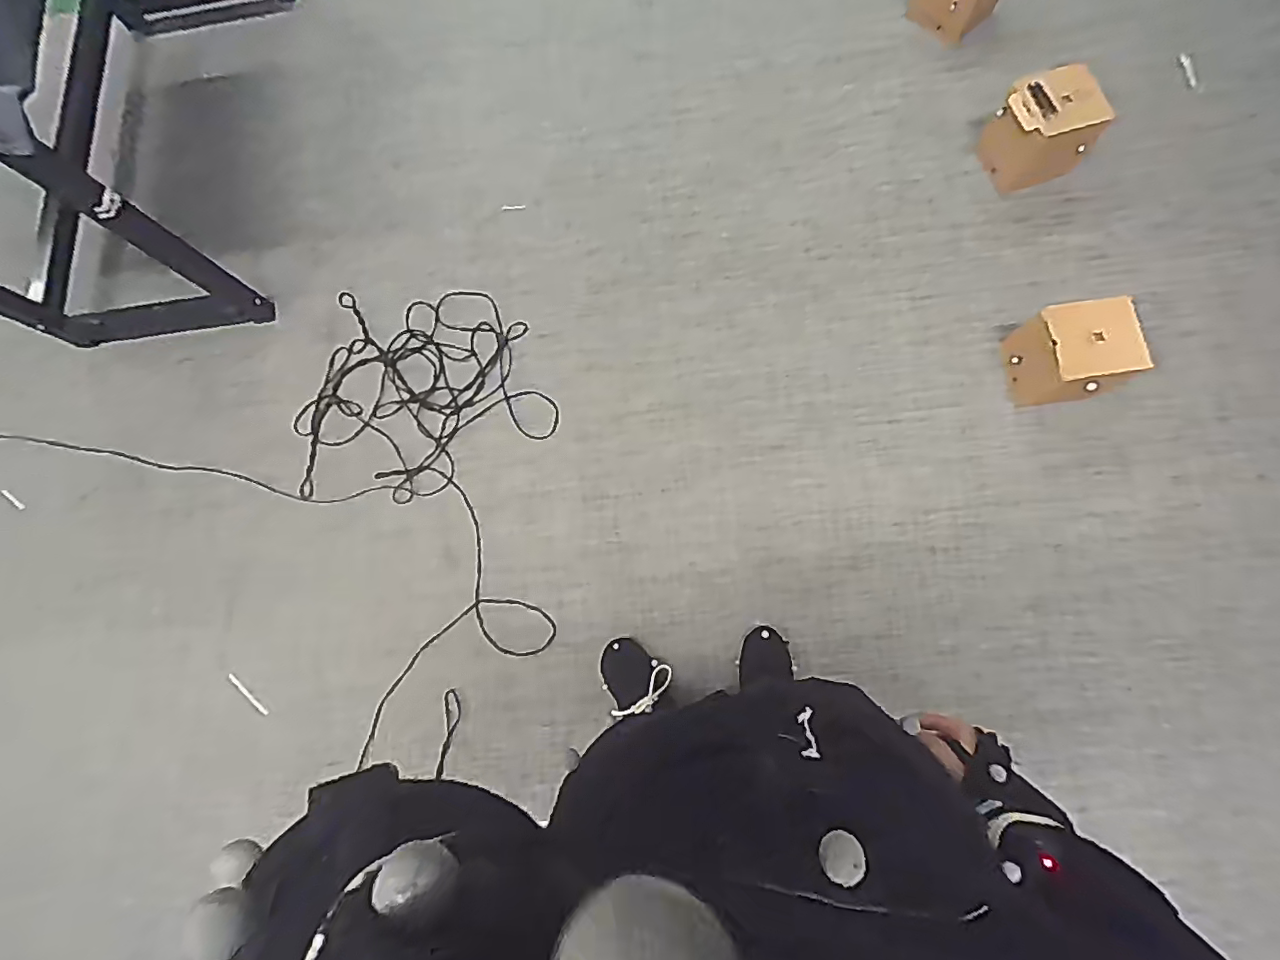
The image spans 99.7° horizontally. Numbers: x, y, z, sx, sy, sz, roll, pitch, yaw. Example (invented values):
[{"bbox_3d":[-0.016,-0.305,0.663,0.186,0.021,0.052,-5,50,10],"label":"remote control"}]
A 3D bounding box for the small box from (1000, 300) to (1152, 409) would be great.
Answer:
[{"bbox_3d":[0.936,-0.266,1.177,0.179,0.176,0.168,-8,77,4],"label":"small box"}]

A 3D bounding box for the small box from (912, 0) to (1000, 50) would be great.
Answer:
[{"bbox_3d":[0.847,-1.288,1.414,0.179,0.176,0.168,-44,78,-6],"label":"small box"}]
